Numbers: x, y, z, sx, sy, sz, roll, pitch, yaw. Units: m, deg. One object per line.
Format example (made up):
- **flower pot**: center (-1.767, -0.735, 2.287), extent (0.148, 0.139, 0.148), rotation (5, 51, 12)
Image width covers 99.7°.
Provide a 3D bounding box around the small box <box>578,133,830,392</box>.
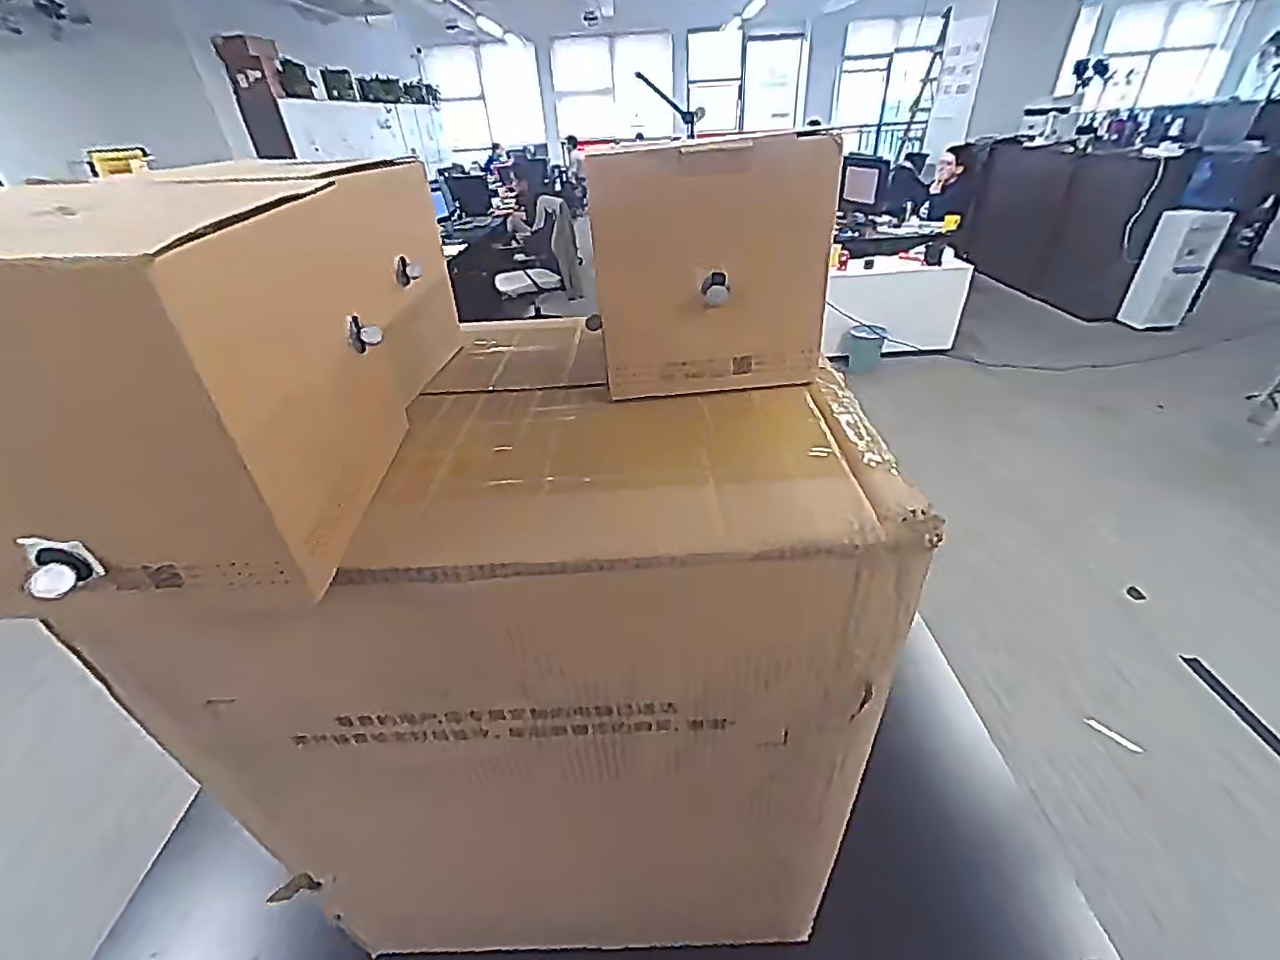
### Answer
- **small box**: center (0.045, -0.180, 0.454), extent (0.168, 0.176, 0.179), rotation (-6, 33, 0)
